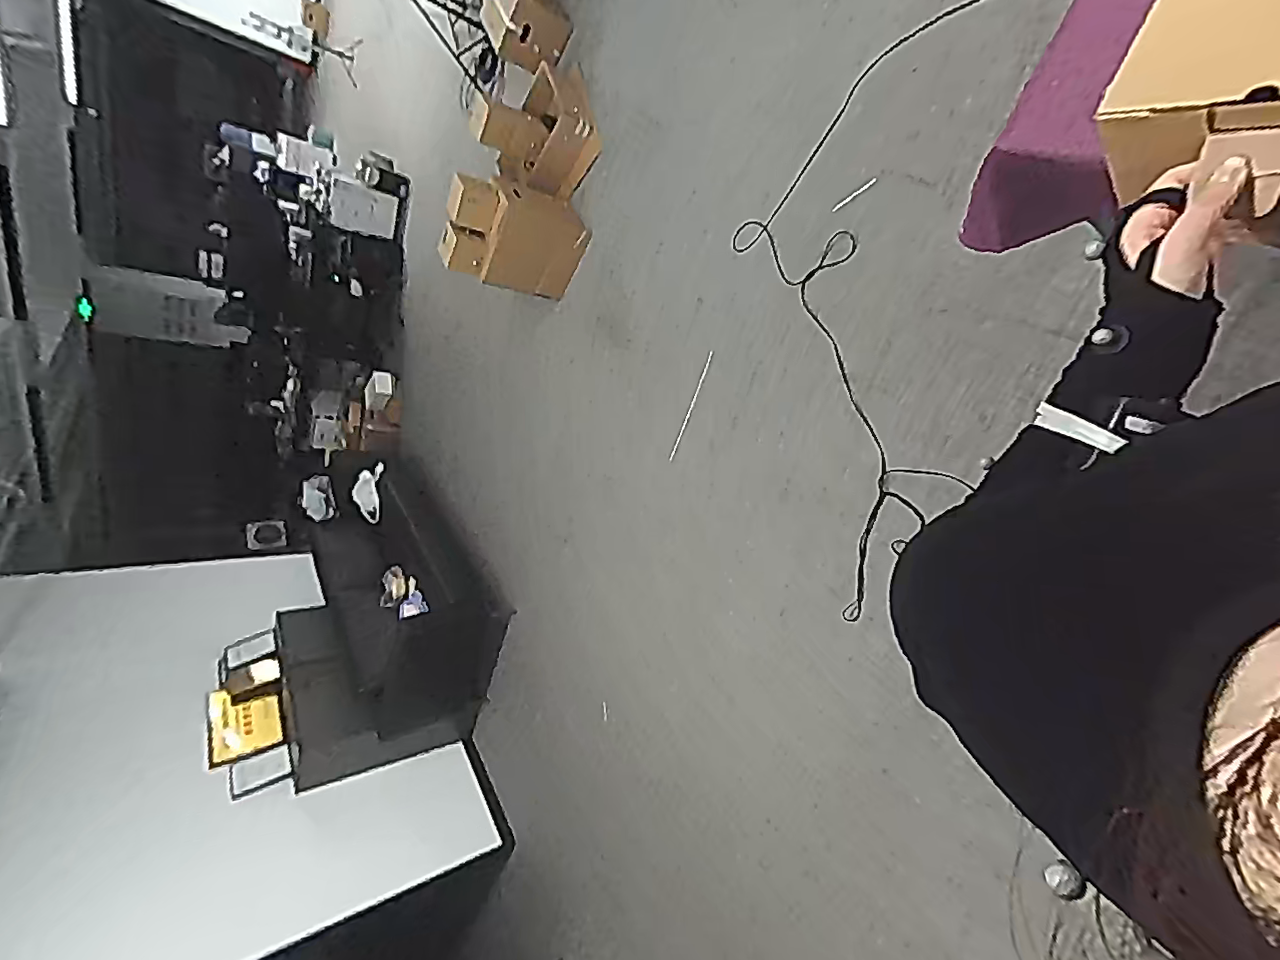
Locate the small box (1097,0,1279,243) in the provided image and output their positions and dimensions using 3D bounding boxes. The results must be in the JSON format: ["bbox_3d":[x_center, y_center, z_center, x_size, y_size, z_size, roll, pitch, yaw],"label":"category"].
[{"bbox_3d":[0.467,-0.289,0.373,0.168,0.176,0.179,35,105,48],"label":"small box"}]
